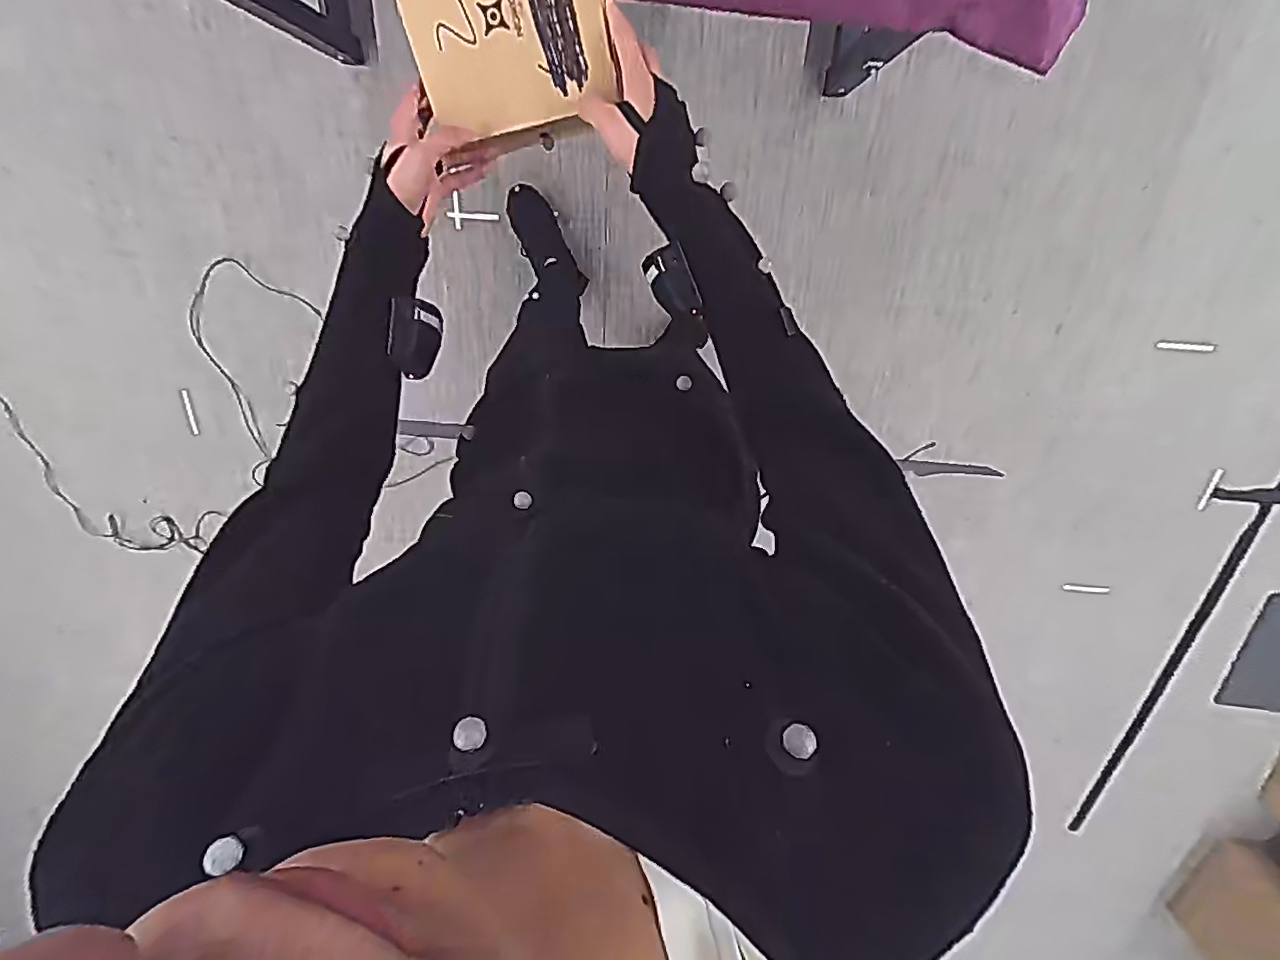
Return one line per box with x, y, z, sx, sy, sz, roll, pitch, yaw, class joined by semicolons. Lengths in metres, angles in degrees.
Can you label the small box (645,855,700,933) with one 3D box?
0.113;1.478;1.934;0.179;0.176;0.168;4;115;-1;small box
